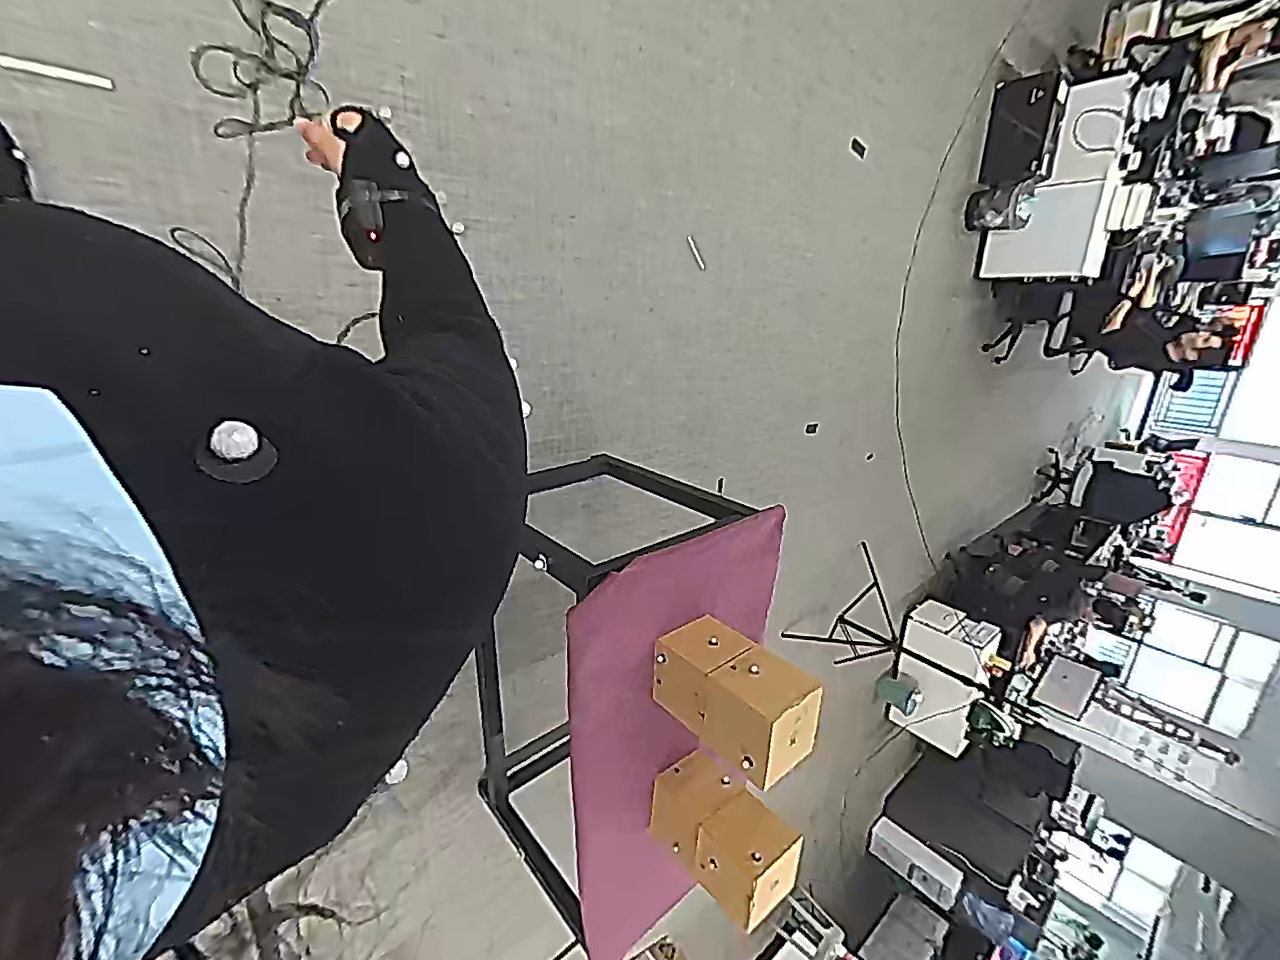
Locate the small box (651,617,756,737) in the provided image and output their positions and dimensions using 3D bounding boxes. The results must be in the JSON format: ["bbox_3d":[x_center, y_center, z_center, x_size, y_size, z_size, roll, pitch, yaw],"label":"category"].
[{"bbox_3d":[0.142,0.446,1.253,0.179,0.176,0.168,-14,114,-39],"label":"small box"}]

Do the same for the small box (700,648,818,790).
[{"bbox_3d":[0.242,0.487,1.129,0.168,0.176,0.179,-14,114,-39],"label":"small box"}]

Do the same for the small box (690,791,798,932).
[{"bbox_3d":[0.242,0.883,1.272,0.179,0.176,0.168,-10,112,-40],"label":"small box"}]
